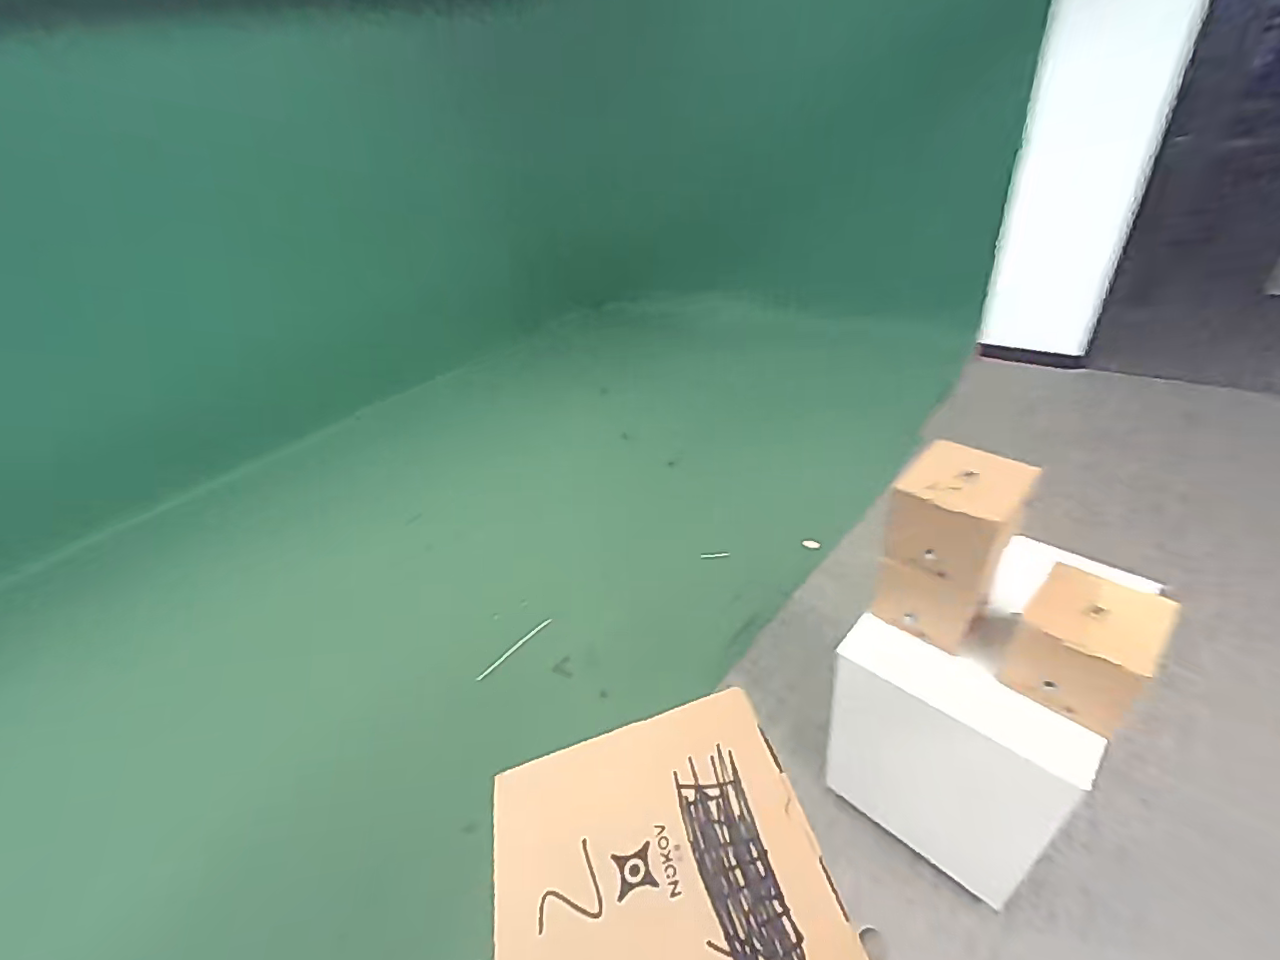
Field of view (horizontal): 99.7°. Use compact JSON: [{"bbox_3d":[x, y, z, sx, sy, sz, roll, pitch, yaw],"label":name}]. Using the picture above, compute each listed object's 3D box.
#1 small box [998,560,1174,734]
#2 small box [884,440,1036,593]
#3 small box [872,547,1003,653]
[{"bbox_3d":[0.724,0.271,0.893,0.179,0.176,0.168,-36,42,-29],"label":"small box"},{"bbox_3d":[0.547,0.060,0.942,0.179,0.176,0.168,-36,43,-30],"label":"small box"},{"bbox_3d":[0.565,0.191,1.041,0.168,0.176,0.179,26,50,38],"label":"small box"}]
